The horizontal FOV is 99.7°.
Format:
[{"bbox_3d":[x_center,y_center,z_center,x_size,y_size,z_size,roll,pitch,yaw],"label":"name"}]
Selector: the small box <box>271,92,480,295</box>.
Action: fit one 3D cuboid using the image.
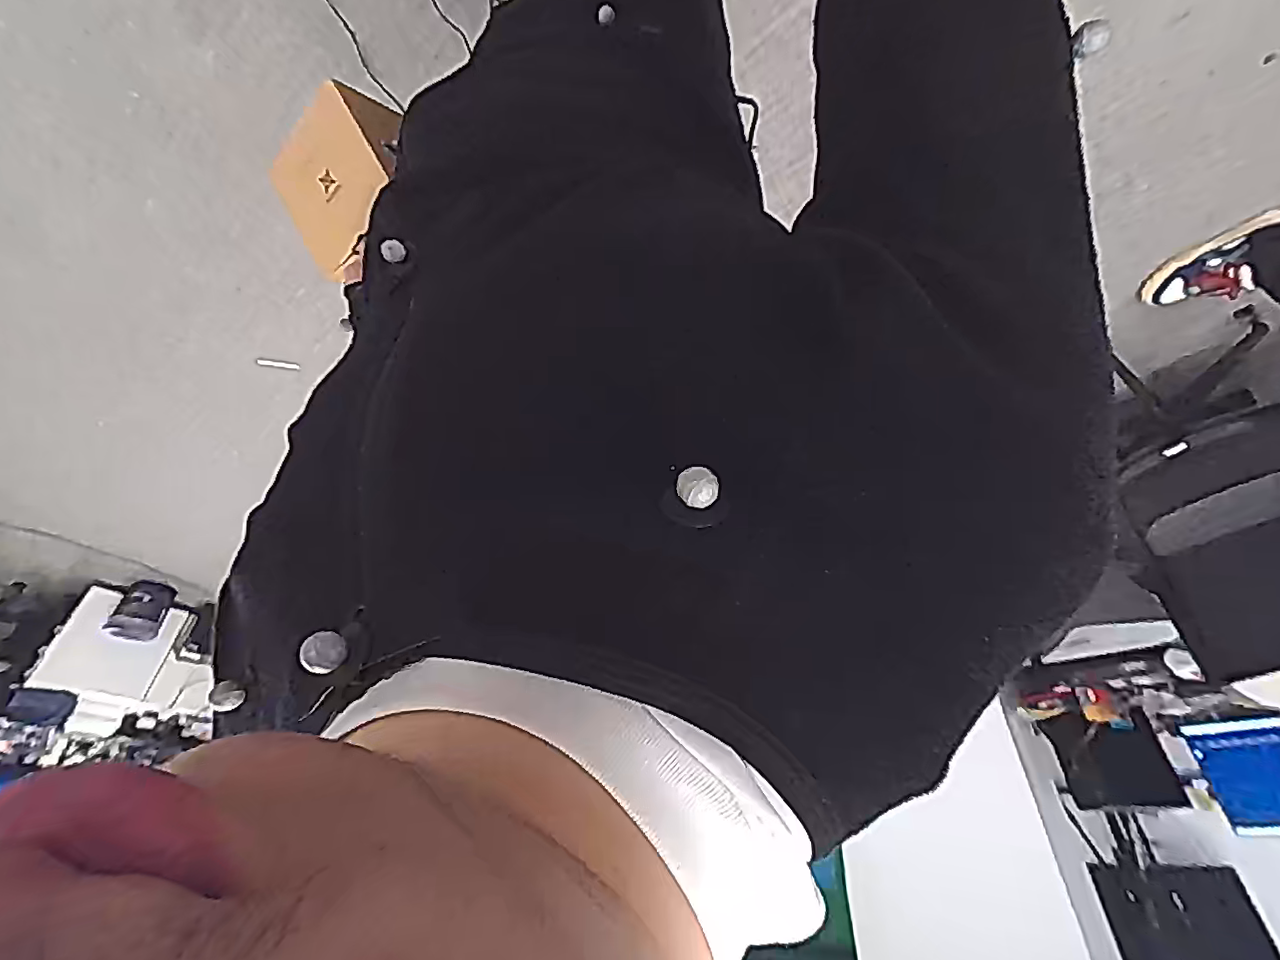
[{"bbox_3d":[-0.361,-0.381,0.762,0.168,0.179,0.176,-31,177,25],"label":"small box"}]
